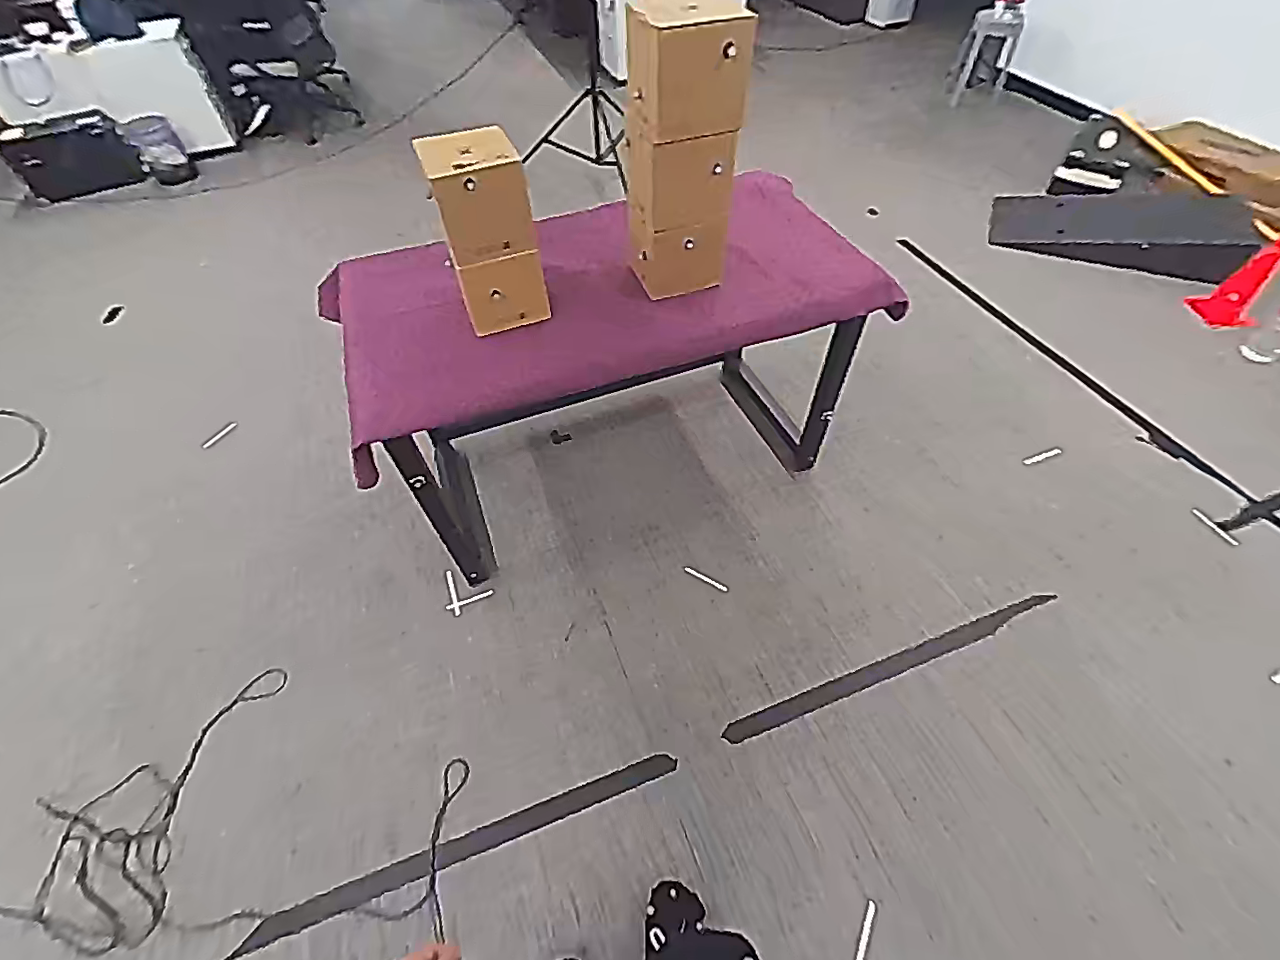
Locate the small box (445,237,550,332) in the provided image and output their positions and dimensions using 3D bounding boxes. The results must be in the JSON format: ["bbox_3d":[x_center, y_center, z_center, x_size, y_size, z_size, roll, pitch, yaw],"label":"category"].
[{"bbox_3d":[-0.306,-0.443,1.176,0.168,0.176,0.179,-19,54,-12],"label":"small box"}]

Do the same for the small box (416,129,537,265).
[{"bbox_3d":[-0.313,-0.547,1.049,0.168,0.176,0.179,-21,54,-12],"label":"small box"}]

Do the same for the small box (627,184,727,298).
[{"bbox_3d":[0.081,-0.541,1.234,0.179,0.176,0.168,-16,55,-11],"label":"small box"}]

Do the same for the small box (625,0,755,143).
[{"bbox_3d":[0.082,-0.738,0.970,0.179,0.176,0.168,-17,54,-10],"label":"small box"}]
